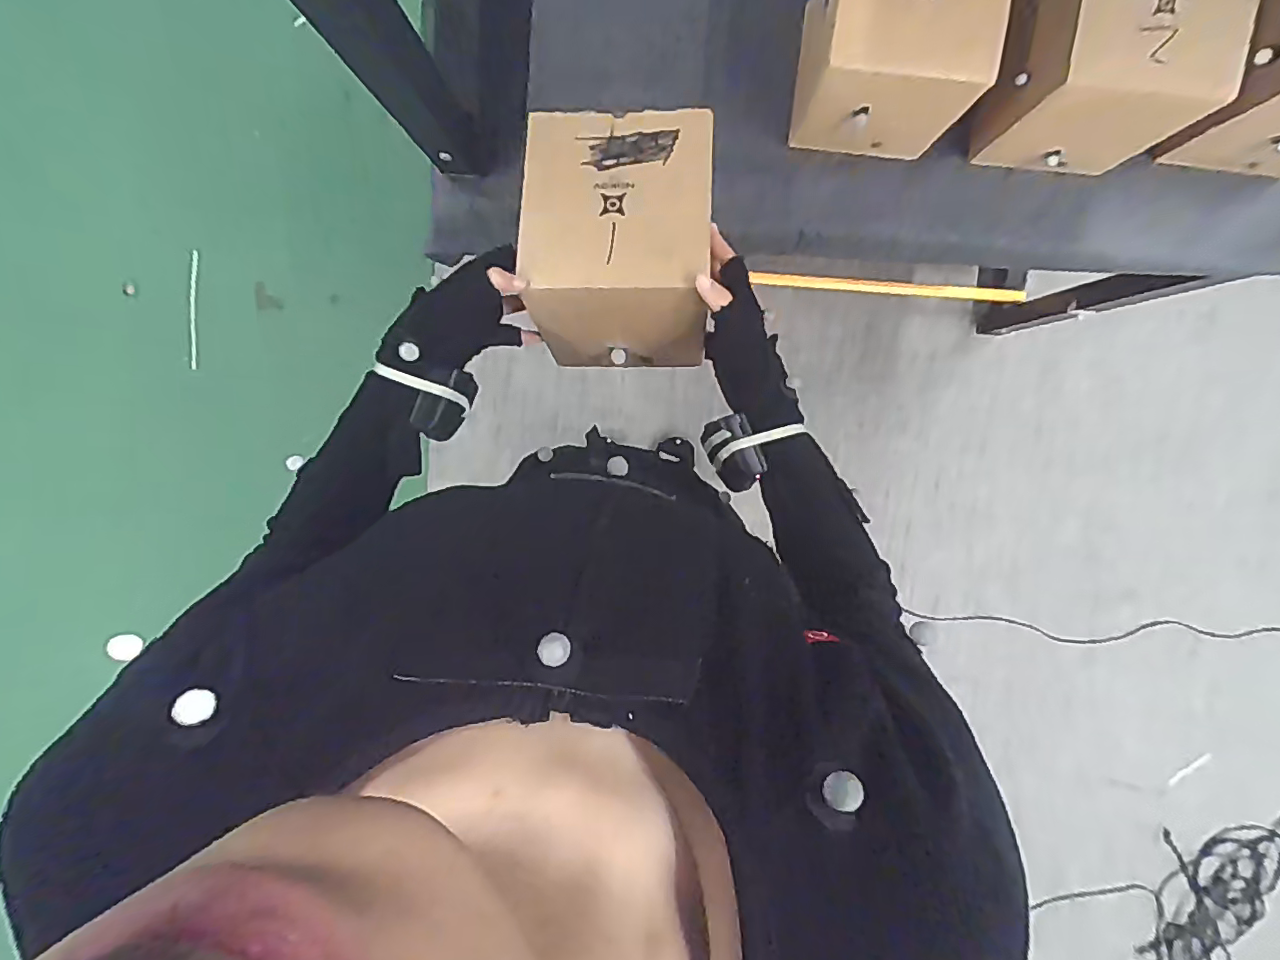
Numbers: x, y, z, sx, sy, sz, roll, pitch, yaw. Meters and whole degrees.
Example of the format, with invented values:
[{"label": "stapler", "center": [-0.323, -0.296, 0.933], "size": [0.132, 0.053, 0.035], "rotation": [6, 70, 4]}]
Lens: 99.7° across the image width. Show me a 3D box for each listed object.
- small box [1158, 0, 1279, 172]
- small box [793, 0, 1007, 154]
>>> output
[{"label": "small box", "center": [0.728, -0.464, 0.585], "size": [0.168, 0.176, 0.179], "rotation": [8, 96, 1]}, {"label": "small box", "center": [0.277, -0.492, 0.598], "size": [0.168, 0.176, 0.179], "rotation": [7, 97, 2]}]
